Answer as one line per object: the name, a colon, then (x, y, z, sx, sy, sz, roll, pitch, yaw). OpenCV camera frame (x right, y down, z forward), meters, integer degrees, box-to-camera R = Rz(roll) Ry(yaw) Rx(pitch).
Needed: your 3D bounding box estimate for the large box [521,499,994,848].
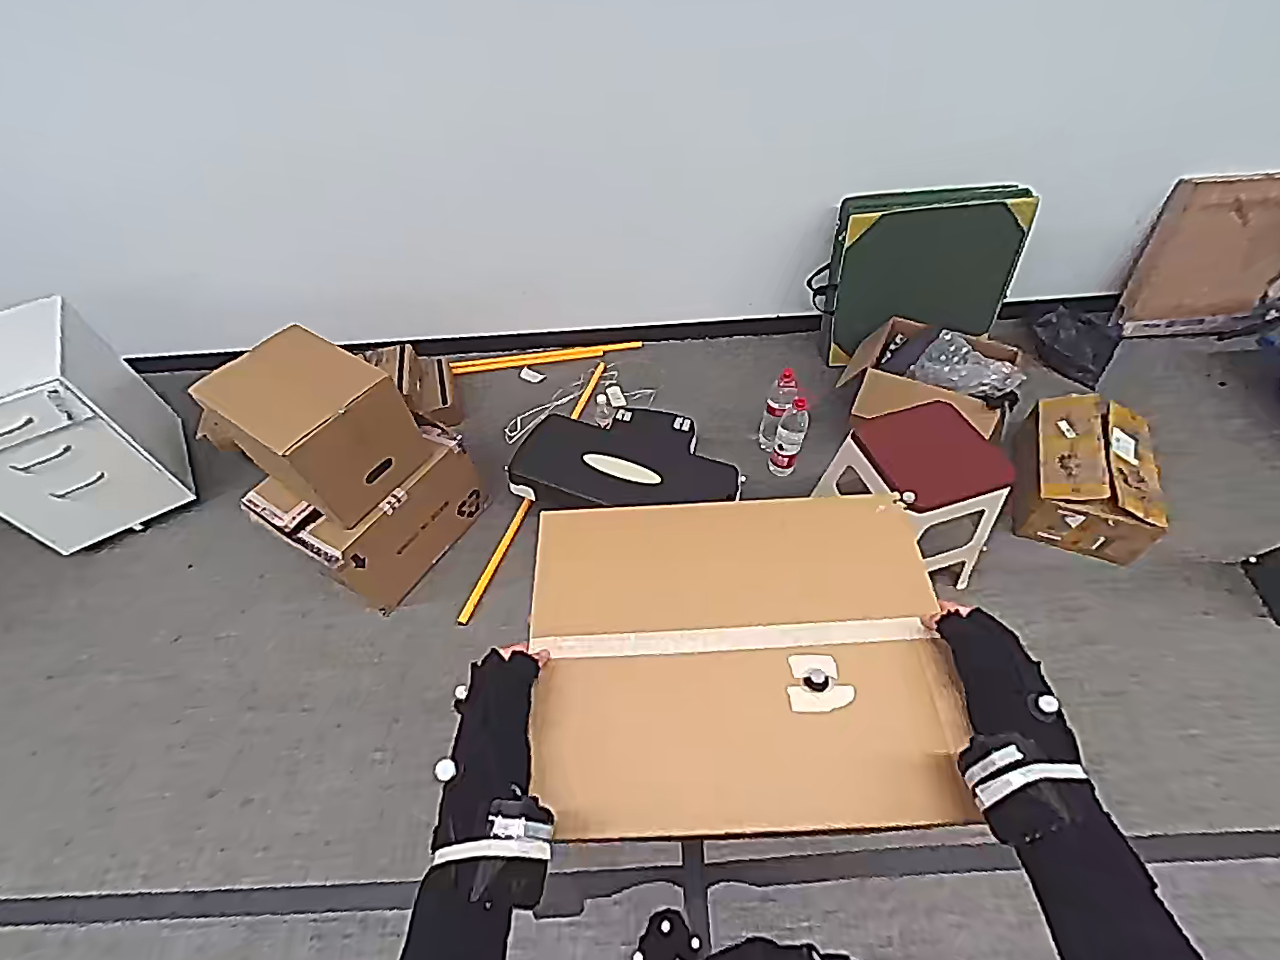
large box: (0.096, 0.244, 0.652, 0.408, 0.320, 0.320, -3, 56, 1)
